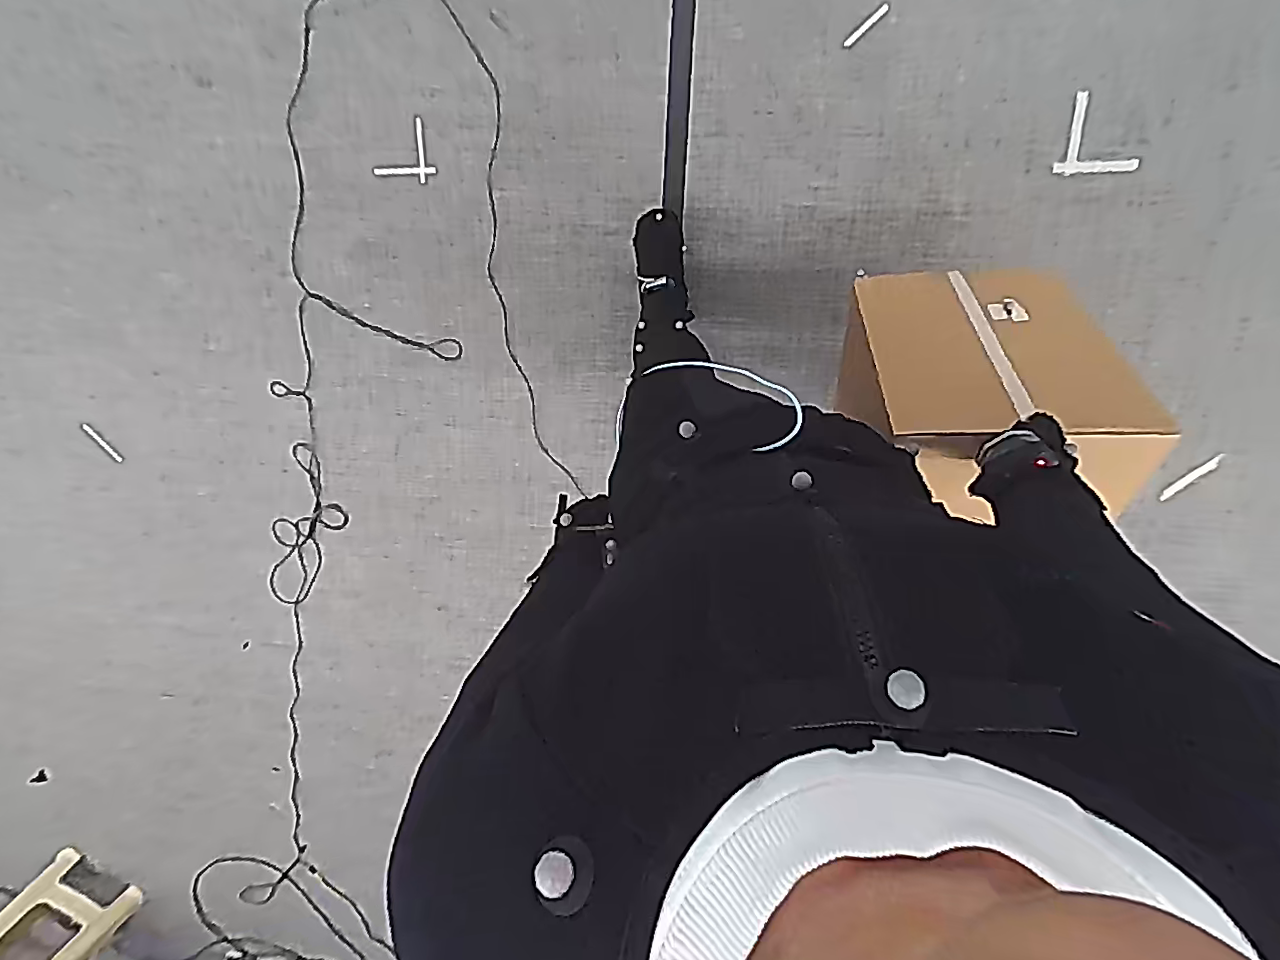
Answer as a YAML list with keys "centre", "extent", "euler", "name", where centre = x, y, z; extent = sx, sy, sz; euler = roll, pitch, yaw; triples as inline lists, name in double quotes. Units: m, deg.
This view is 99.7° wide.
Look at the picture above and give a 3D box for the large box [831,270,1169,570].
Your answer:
- centre: [0.515, -0.100, 0.897]
  extent: [0.320, 0.408, 0.320]
  euler: [1, 137, 9]
  name: "large box"
